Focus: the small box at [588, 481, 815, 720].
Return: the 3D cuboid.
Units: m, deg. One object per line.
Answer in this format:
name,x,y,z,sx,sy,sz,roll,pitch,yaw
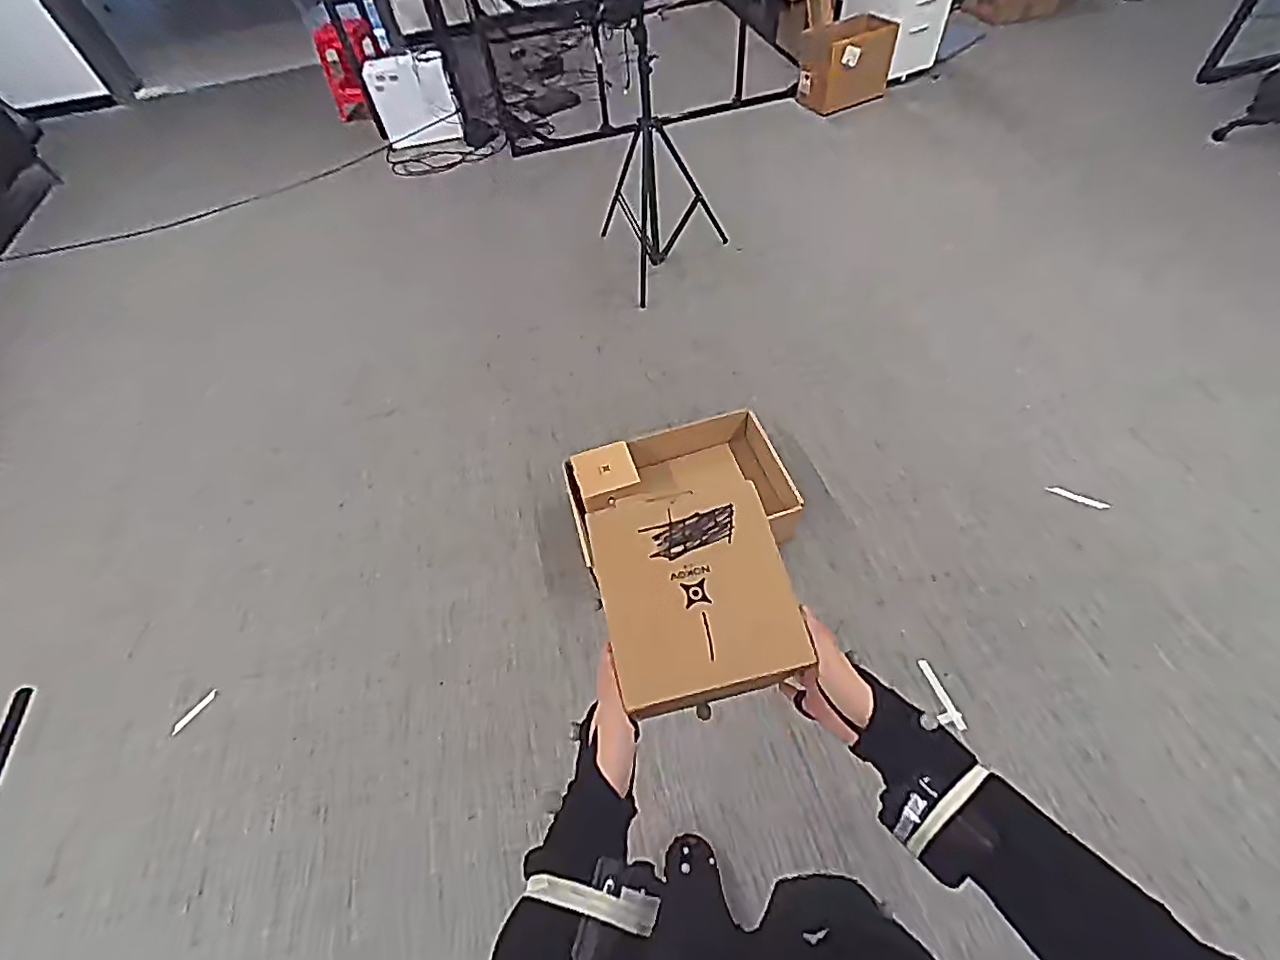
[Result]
small box,0.046,0.127,0.544,0.168,0.176,0.179,-12,64,-6
